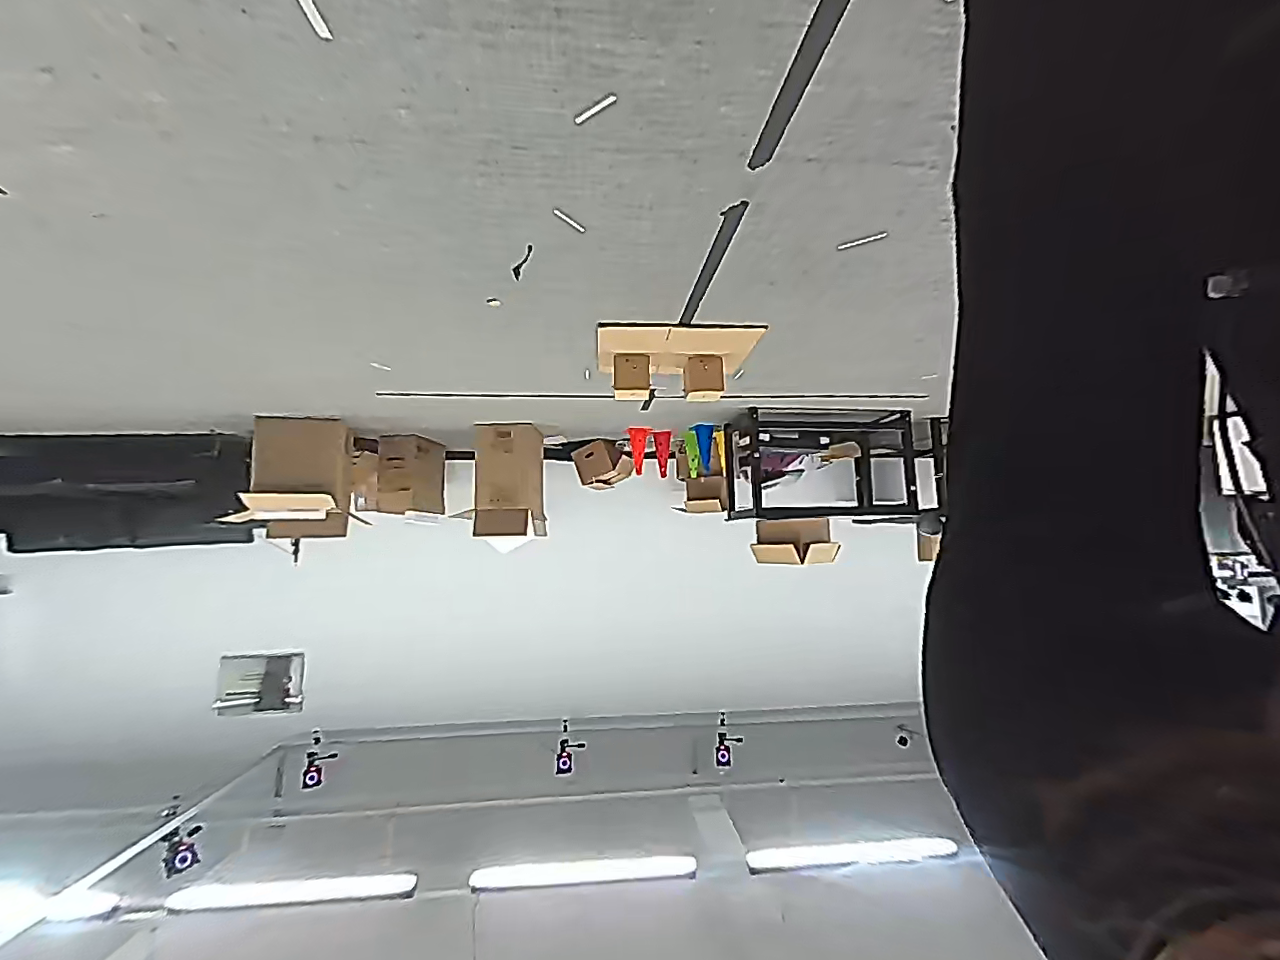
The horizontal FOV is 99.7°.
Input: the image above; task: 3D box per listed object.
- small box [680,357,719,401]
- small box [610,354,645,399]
[{"bbox_3d":[0.284,-0.485,2.603,0.168,0.176,0.179,-1,173,-4],"label":"small box"},{"bbox_3d":[-0.059,-0.490,2.573,0.168,0.176,0.179,-1,173,-1],"label":"small box"}]
